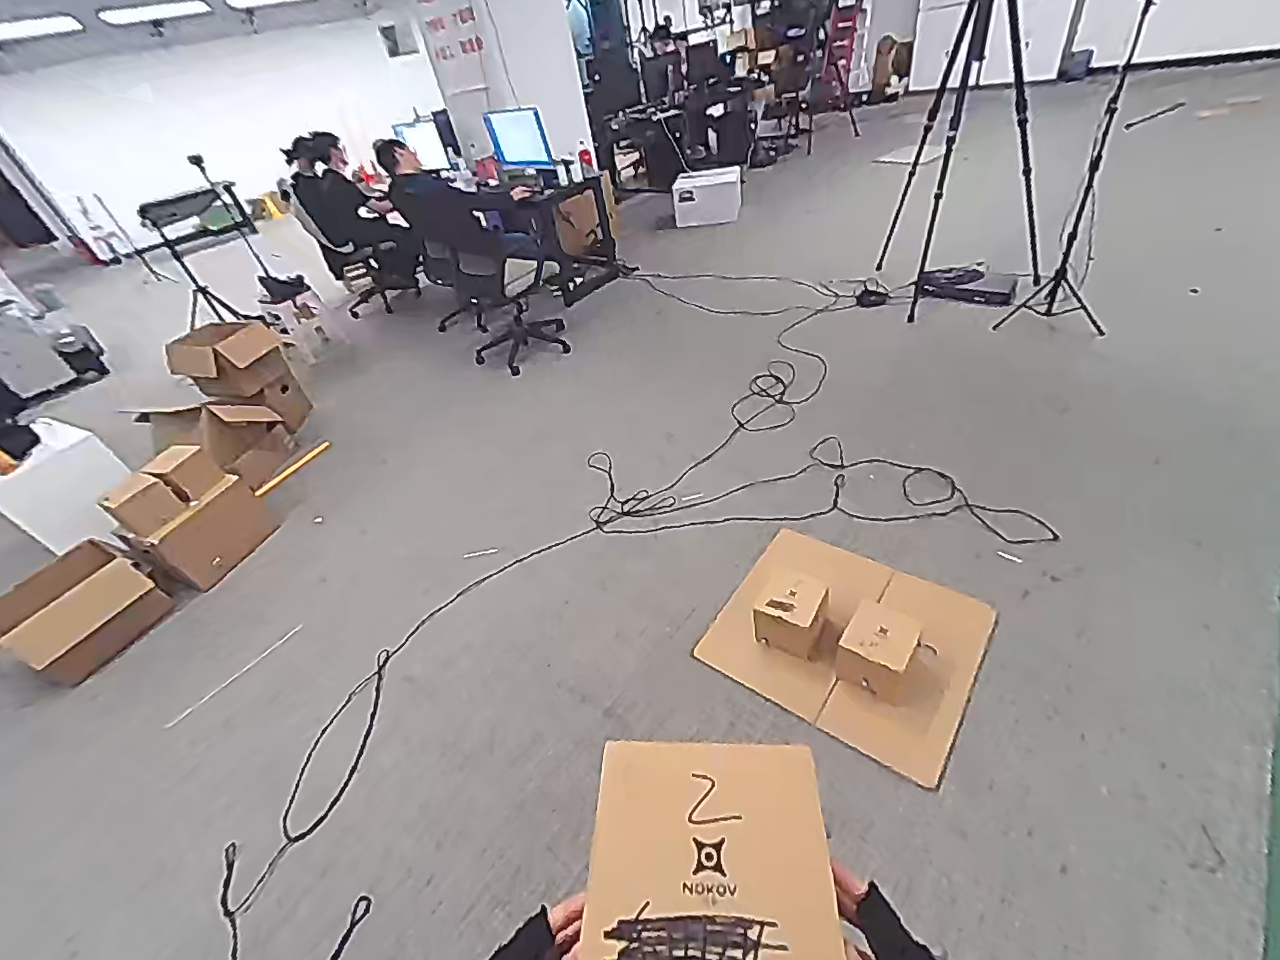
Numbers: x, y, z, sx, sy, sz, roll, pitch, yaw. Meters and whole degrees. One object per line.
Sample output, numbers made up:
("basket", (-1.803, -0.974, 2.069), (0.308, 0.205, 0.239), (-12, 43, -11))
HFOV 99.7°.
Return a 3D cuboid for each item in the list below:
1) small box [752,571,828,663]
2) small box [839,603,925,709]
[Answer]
("small box", (0.448, 0.408, 1.602), (0.168, 0.176, 0.179), (16, 47, 32))
("small box", (0.649, 0.476, 1.466), (0.168, 0.176, 0.179), (19, 49, 36))
